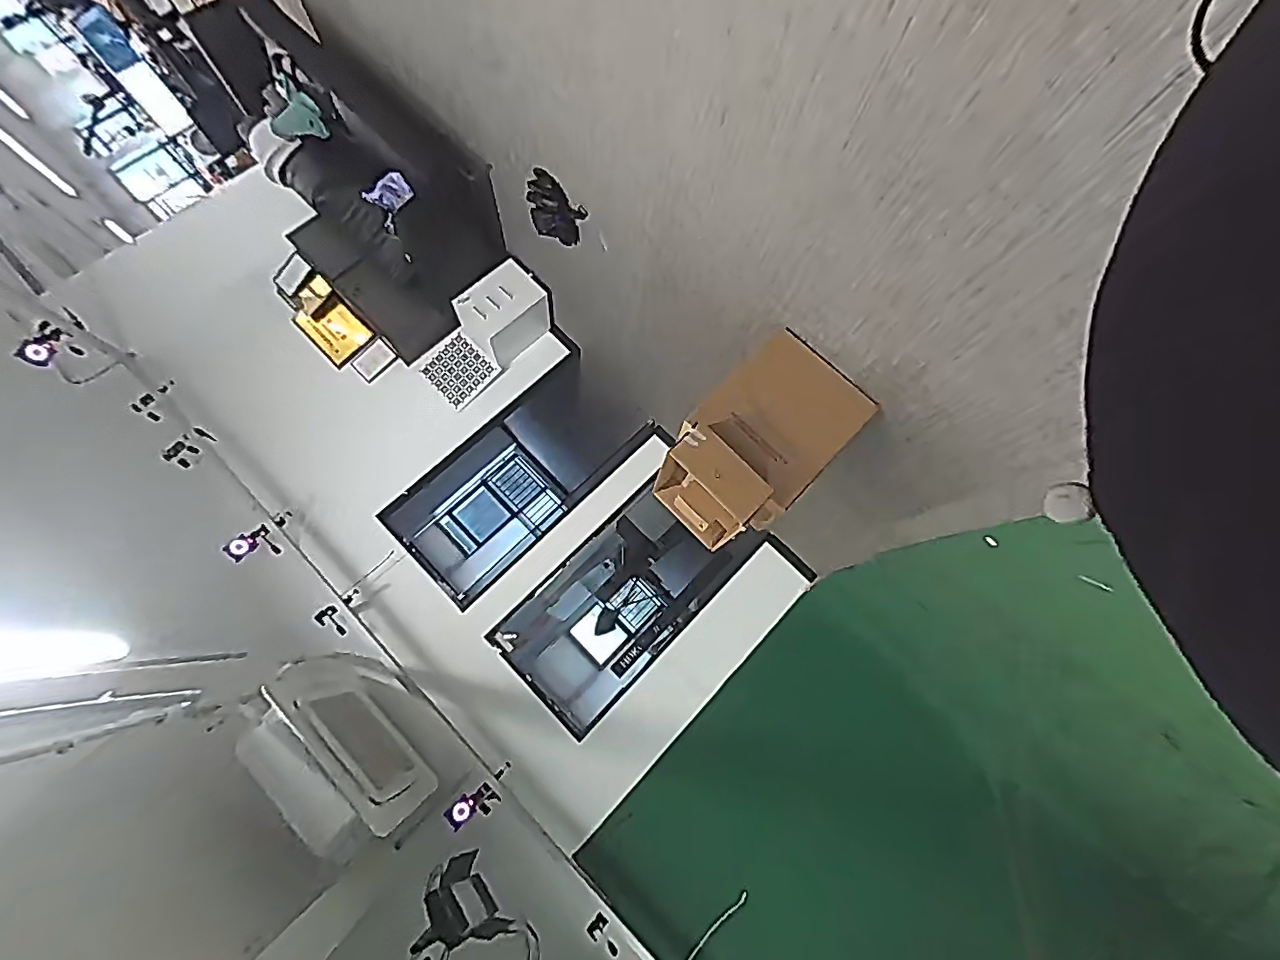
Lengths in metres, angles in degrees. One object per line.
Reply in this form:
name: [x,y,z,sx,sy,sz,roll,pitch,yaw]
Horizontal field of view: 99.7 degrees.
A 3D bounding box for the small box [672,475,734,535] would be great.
small box: [0.258,0.097,2.235,0.179,0.176,0.168,46,168,10]
